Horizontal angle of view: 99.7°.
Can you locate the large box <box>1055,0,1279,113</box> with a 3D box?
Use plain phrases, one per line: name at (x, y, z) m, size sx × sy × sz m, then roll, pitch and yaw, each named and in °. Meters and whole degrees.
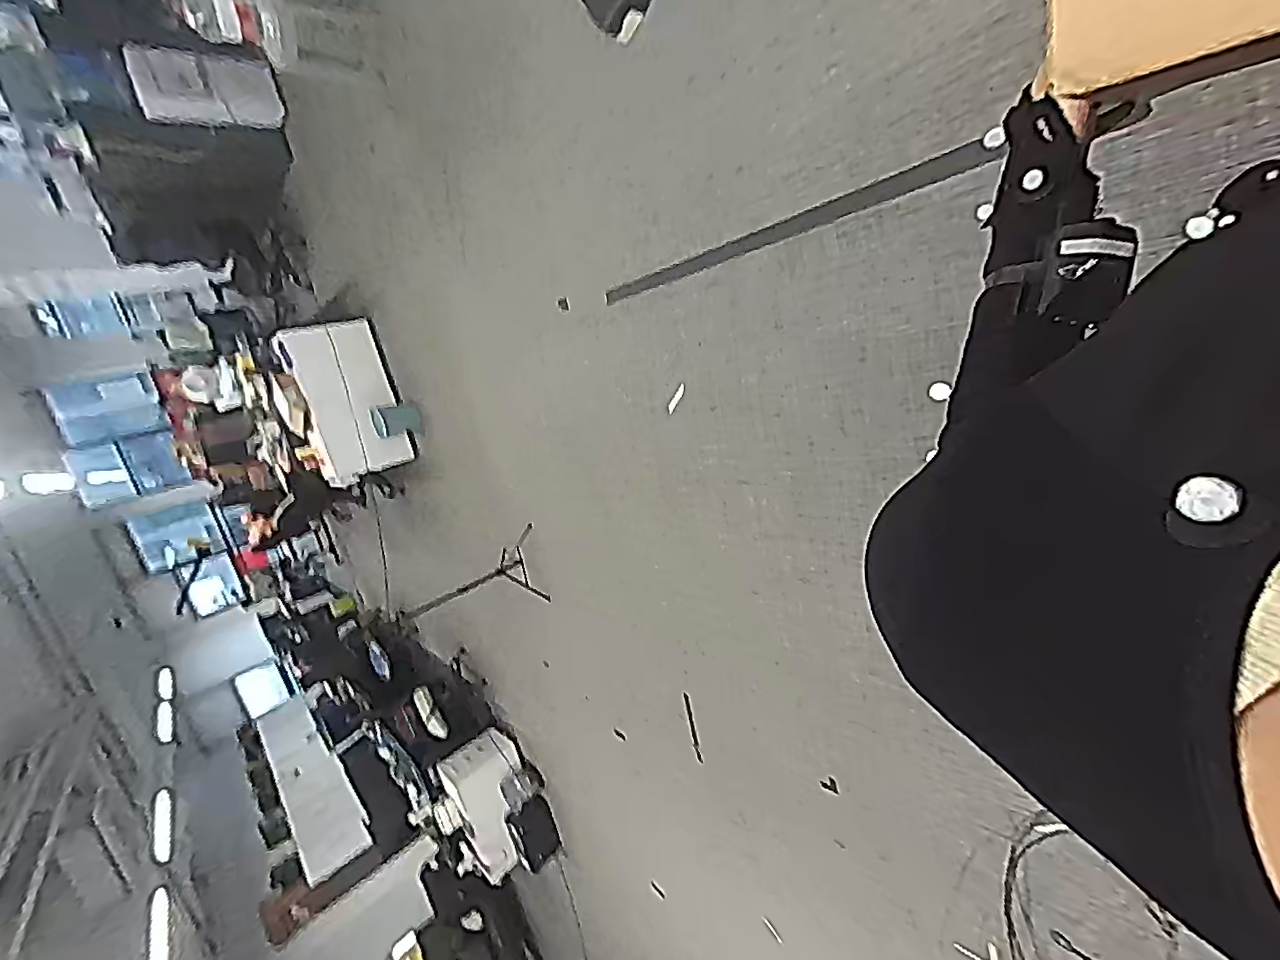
large box at (0.385, -0.355, 0.152) m, size 0.408 × 0.320 × 0.320 m, roll 5°, pitch 120°, yaw 43°
